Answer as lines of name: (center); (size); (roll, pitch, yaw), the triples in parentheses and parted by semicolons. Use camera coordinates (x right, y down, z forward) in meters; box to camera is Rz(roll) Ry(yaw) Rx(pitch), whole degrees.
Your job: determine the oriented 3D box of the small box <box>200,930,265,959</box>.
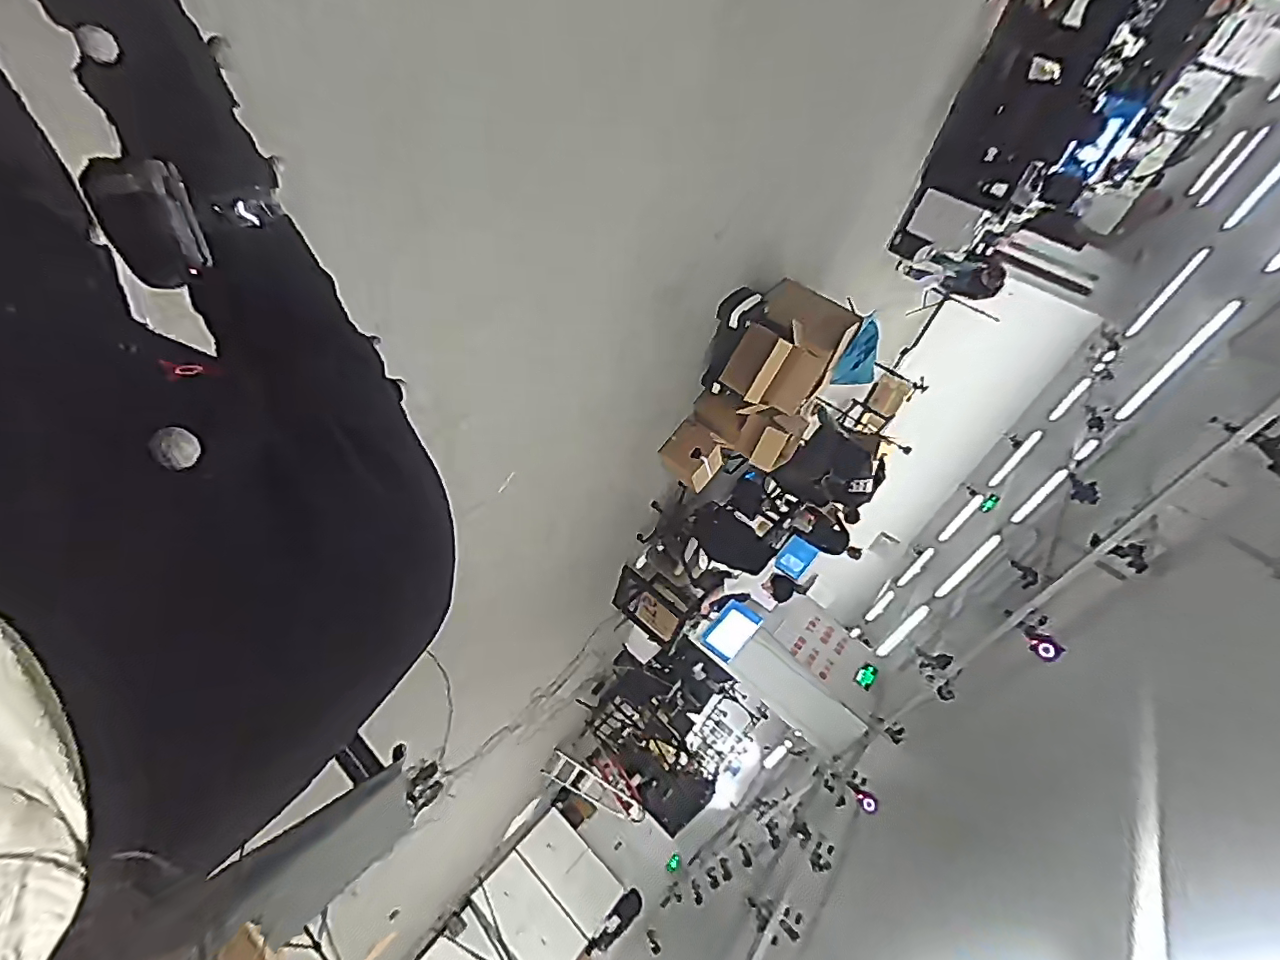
small box: (-1.119, 1.365, 1.453); (0.179, 0.176, 0.168); (-32, 151, -40)
